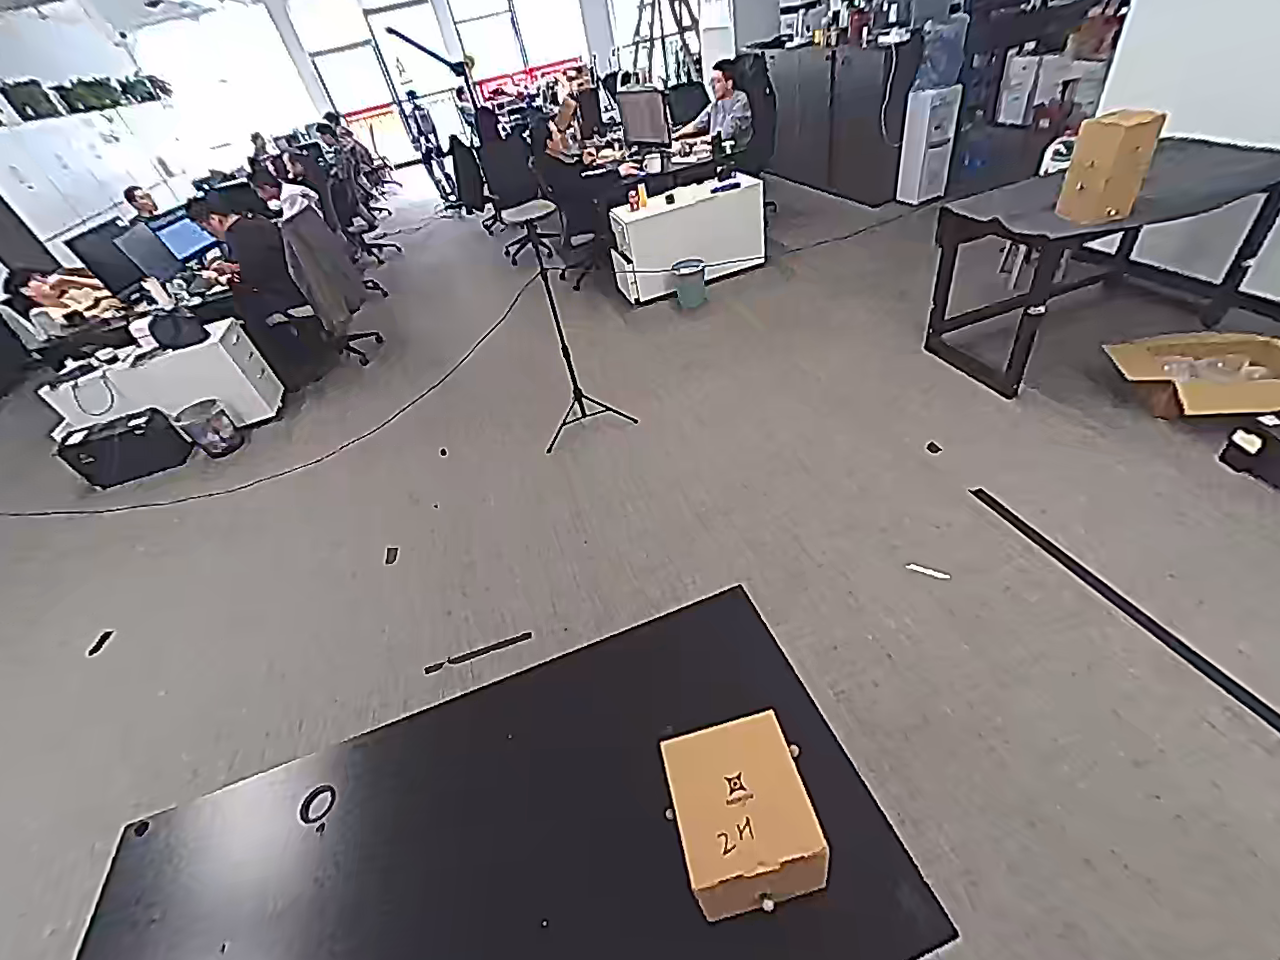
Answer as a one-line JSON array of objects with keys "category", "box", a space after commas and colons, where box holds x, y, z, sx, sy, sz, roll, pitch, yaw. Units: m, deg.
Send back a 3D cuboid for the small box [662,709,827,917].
[{"category": "small box", "box": [0.135, 0.448, 0.730, 0.168, 0.176, 0.179, -16, 41, -1]}]
